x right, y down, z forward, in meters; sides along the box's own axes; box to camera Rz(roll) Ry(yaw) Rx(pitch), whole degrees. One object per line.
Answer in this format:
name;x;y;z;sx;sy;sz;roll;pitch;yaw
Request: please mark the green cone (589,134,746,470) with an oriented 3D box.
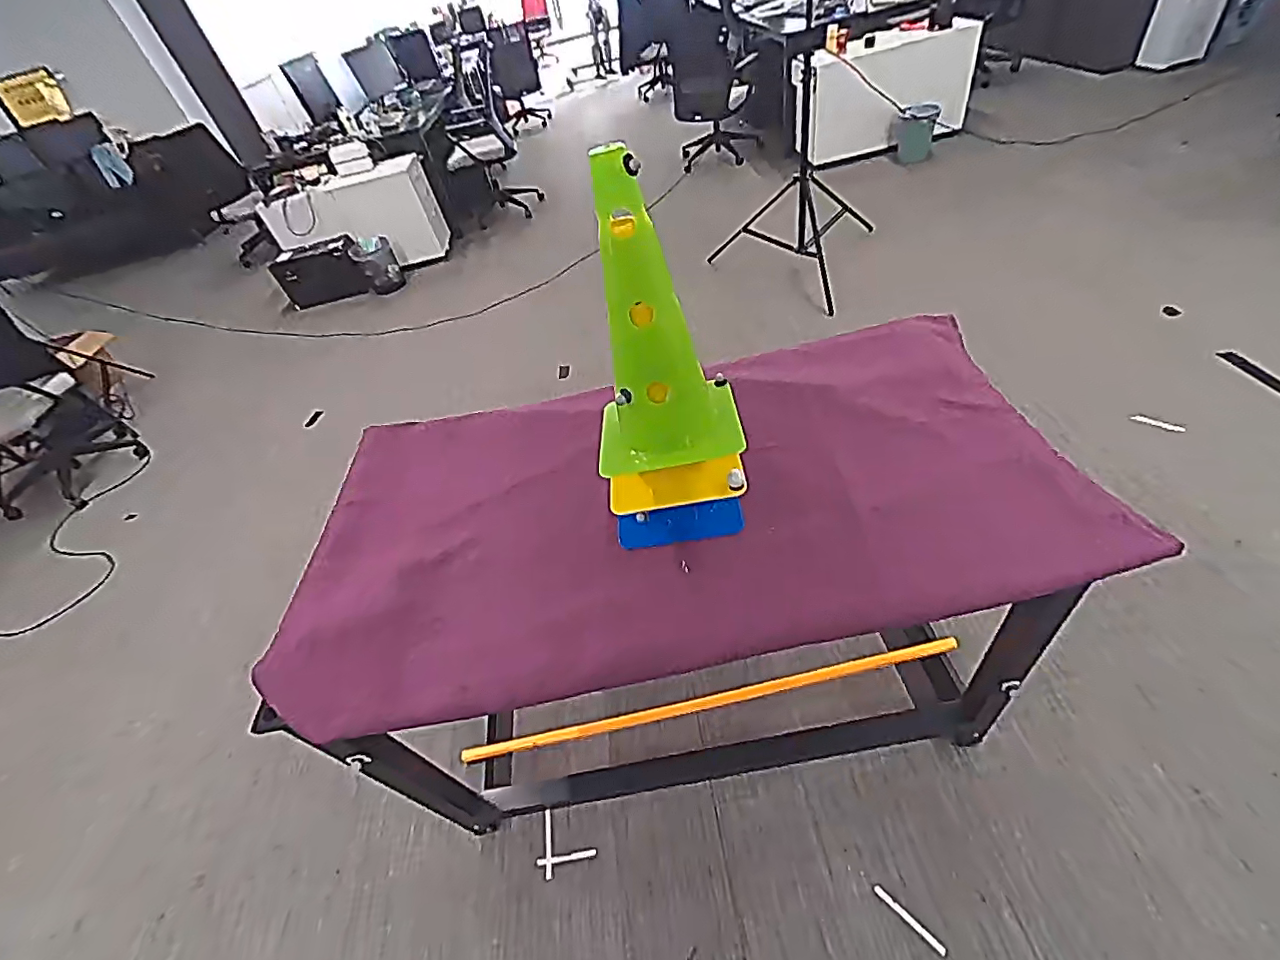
green cone;0.002;-0.218;0.675;0.200;0.368;0.202;-11;38;7
